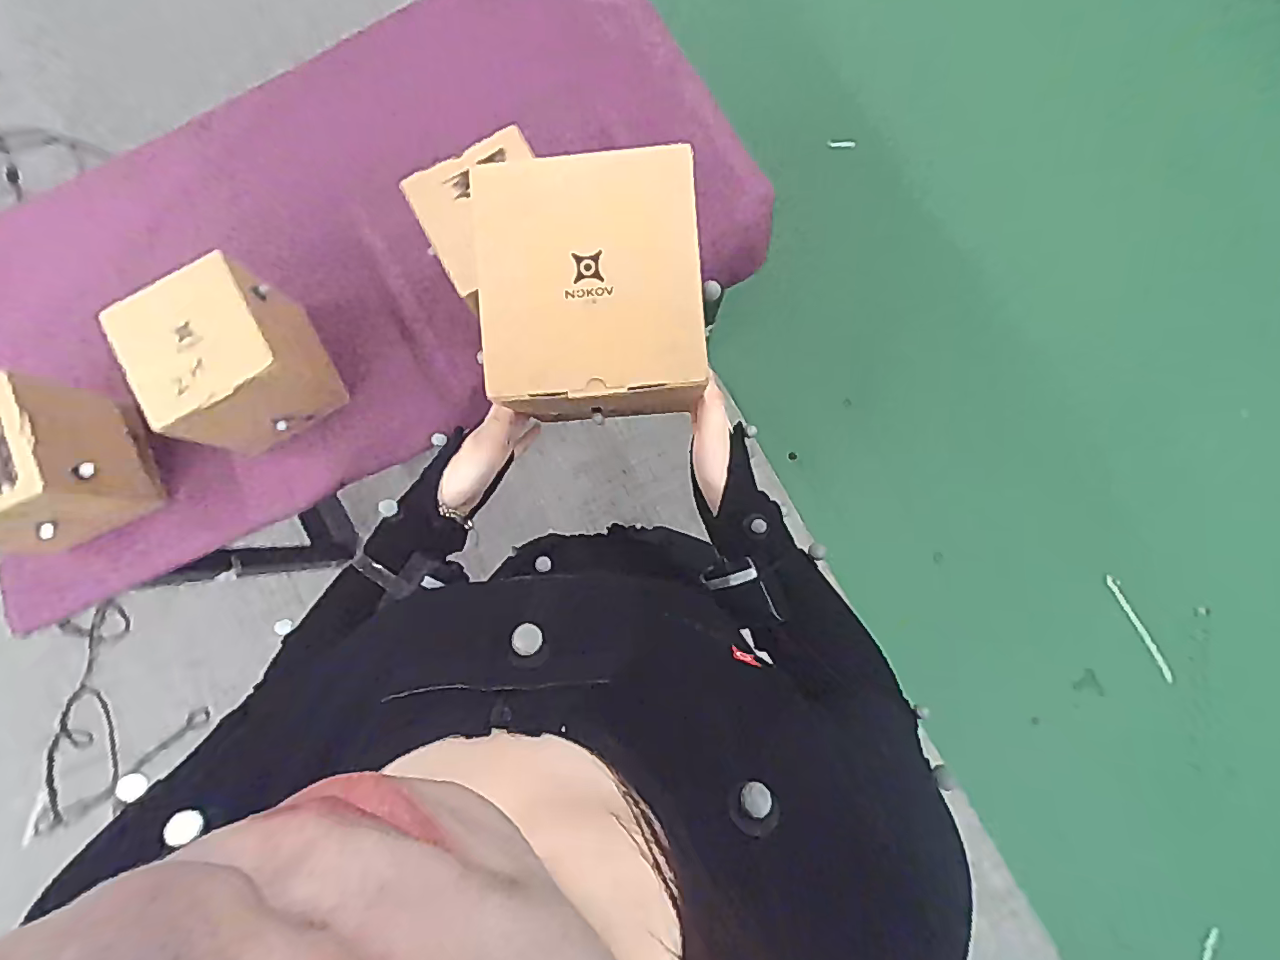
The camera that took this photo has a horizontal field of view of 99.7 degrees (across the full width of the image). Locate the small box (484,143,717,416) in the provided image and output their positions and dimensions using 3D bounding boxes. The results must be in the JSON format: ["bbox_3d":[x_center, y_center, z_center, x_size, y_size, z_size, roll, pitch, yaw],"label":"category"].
[{"bbox_3d":[-0.027,-0.155,0.474,0.168,0.176,0.179,-4,92,2],"label":"small box"}]

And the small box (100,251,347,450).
[{"bbox_3d":[-0.545,-0.161,0.732,0.168,0.176,0.179,-31,83,-2],"label":"small box"}]

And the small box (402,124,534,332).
[{"bbox_3d":[-0.187,-0.329,0.749,0.168,0.176,0.179,-30,85,-2],"label":"small box"}]
